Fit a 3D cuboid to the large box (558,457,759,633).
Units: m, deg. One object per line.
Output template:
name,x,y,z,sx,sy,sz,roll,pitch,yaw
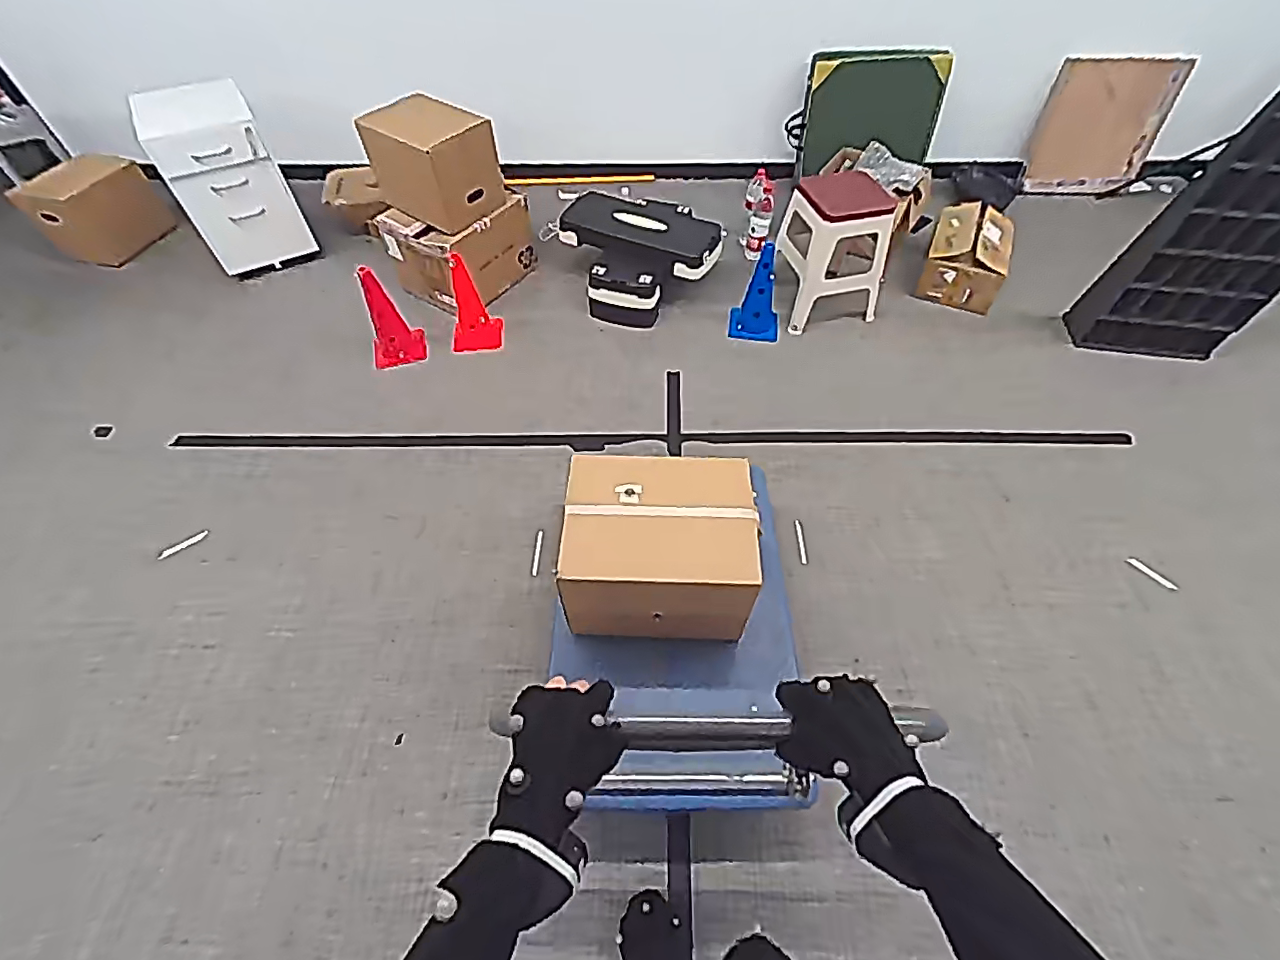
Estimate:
large box,0.042,0.159,1.267,0.408,0.320,0.320,1,54,2
